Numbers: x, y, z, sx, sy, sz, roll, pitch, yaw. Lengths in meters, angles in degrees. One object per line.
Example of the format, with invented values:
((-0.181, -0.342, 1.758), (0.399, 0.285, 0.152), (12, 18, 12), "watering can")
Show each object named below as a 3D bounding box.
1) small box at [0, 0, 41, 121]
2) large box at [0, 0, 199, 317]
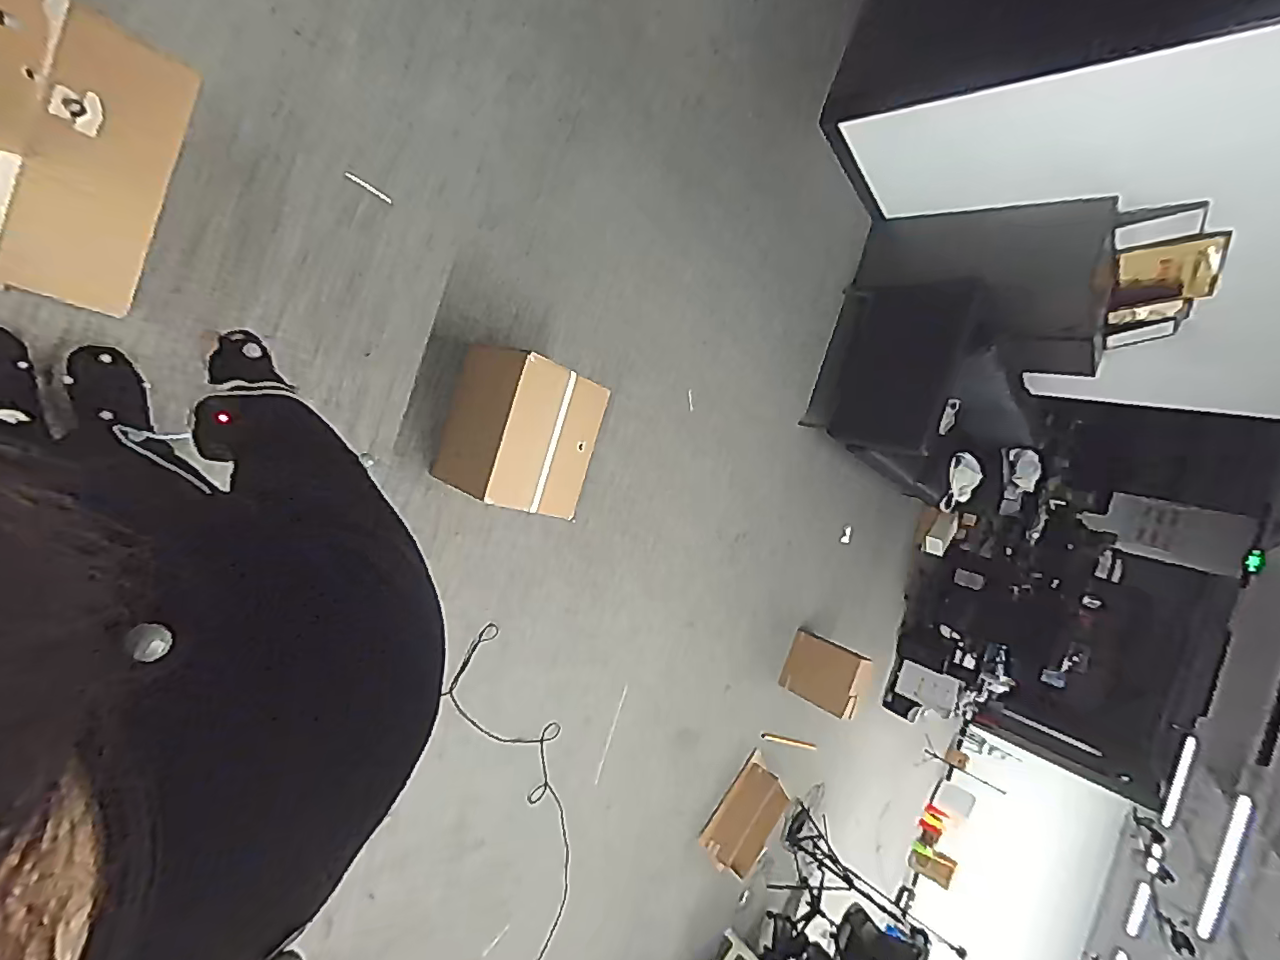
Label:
((-0.701, -0.482, 0.502), (0.168, 0.176, 0.179), (17, 92, -44), "small box")
((-0.948, -0.502, 0.842), (0.320, 0.320, 0.408), (17, 90, -47), "large box")
